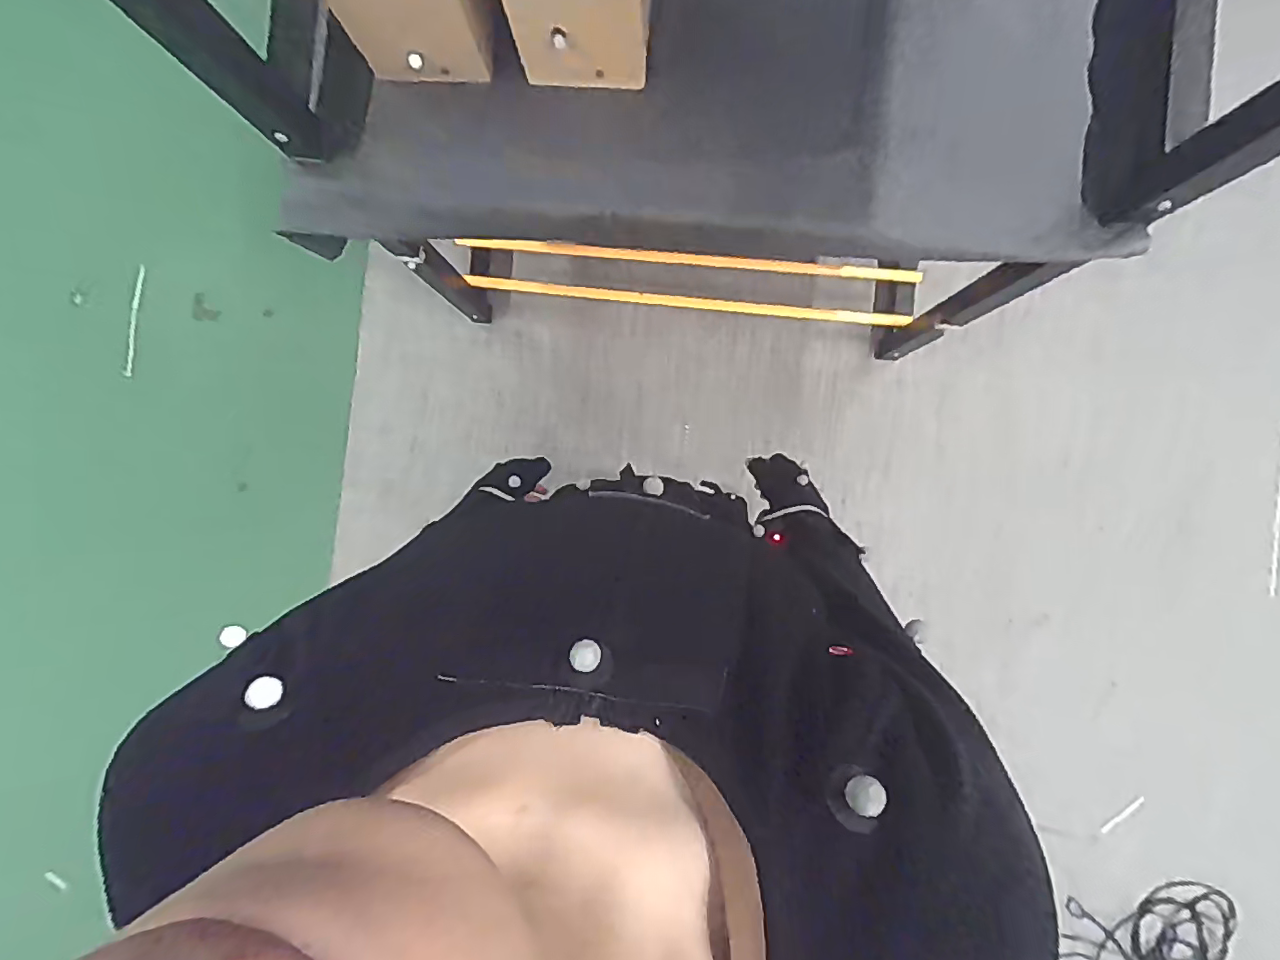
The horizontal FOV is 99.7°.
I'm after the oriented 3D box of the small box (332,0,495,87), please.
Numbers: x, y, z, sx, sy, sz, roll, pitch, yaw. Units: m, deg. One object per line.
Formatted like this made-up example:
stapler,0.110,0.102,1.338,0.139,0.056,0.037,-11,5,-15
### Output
small box,-0.293,-0.653,0.692,0.168,0.176,0.179,3,90,2
